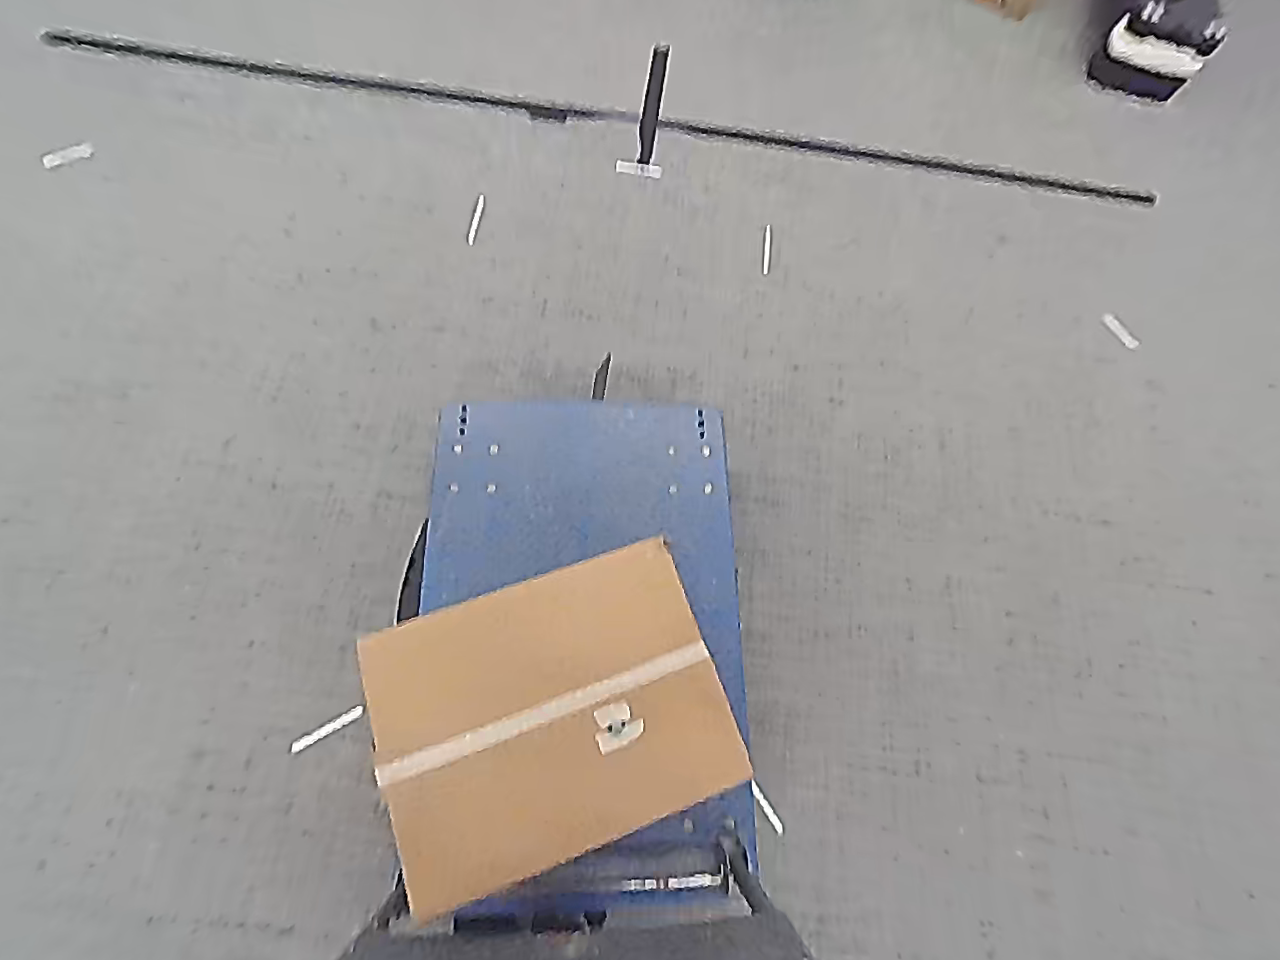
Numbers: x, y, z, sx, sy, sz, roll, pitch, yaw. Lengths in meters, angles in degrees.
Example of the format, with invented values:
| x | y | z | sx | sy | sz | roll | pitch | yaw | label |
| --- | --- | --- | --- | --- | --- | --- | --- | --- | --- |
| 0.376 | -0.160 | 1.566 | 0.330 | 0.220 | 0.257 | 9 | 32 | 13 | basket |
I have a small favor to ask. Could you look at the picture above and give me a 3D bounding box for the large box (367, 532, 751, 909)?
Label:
| x | y | z | sx | sy | sz | roll | pitch | yaw | label |
| --- | --- | --- | --- | --- | --- | --- | --- | --- | --- |
| -0.114 | 0.315 | 0.798 | 0.408 | 0.320 | 0.320 | -18 | 75 | -11 | large box |
